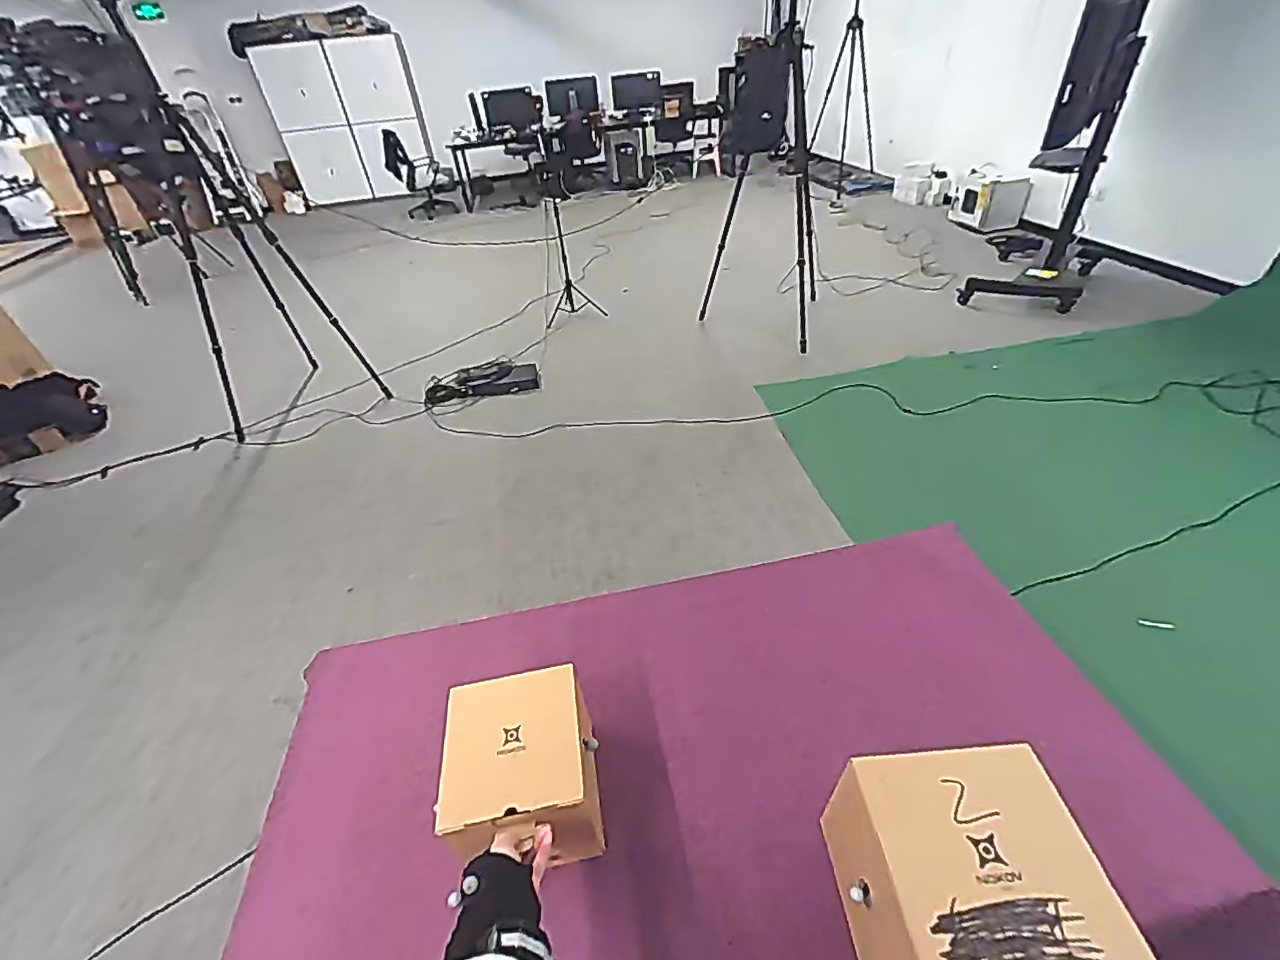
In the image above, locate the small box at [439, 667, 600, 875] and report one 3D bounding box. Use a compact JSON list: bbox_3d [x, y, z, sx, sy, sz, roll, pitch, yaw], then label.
[{"bbox_3d":[-0.150,0.383,0.718,0.168,0.176,0.179,-10,39,-5],"label":"small box"}]
